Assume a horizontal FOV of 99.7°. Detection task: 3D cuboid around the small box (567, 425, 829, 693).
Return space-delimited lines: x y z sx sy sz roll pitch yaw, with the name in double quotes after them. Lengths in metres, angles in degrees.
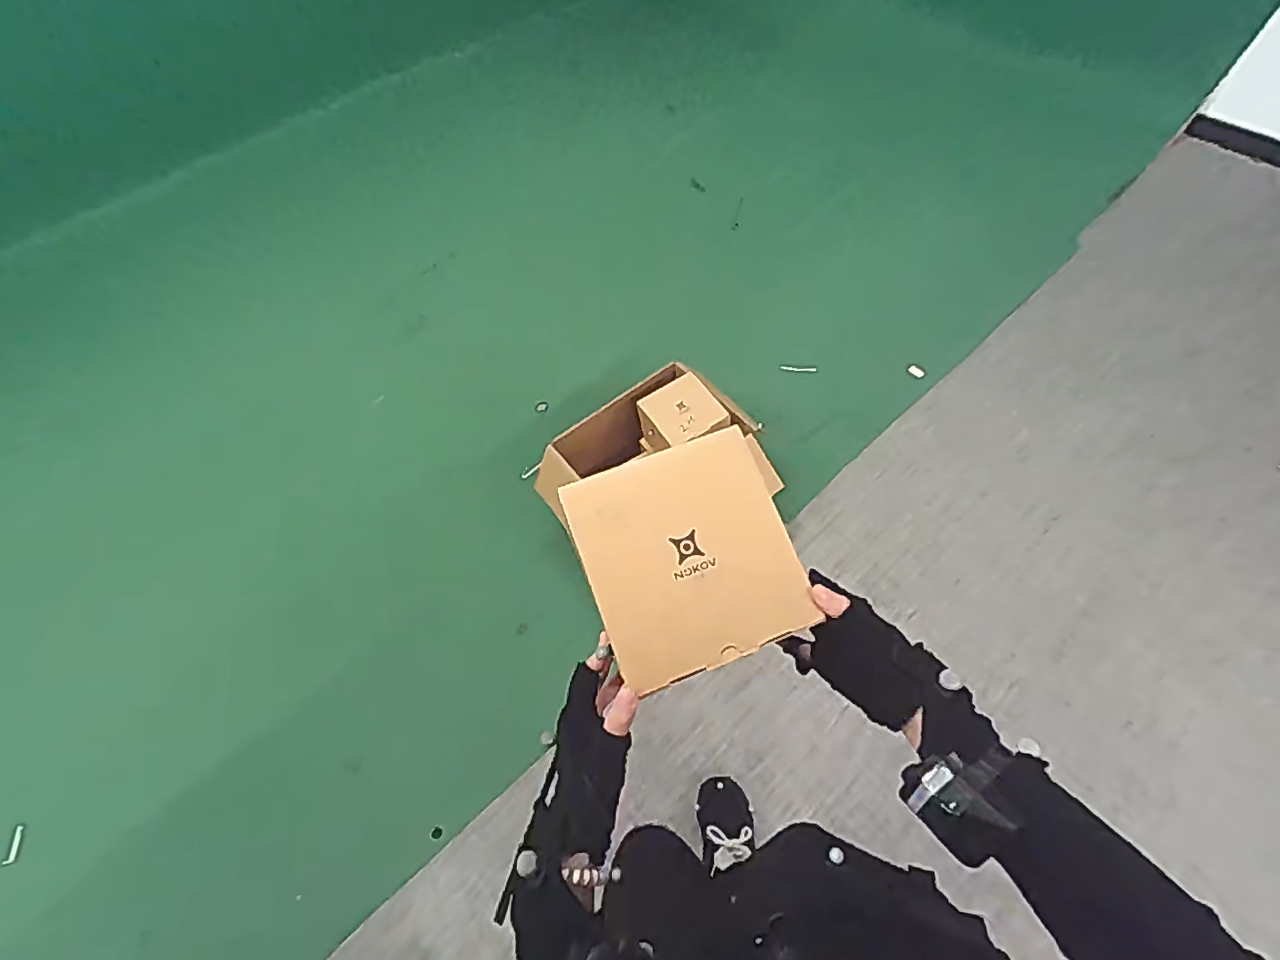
0.037 0.077 0.507 0.168 0.176 0.179 -20 78 -9 "small box"
